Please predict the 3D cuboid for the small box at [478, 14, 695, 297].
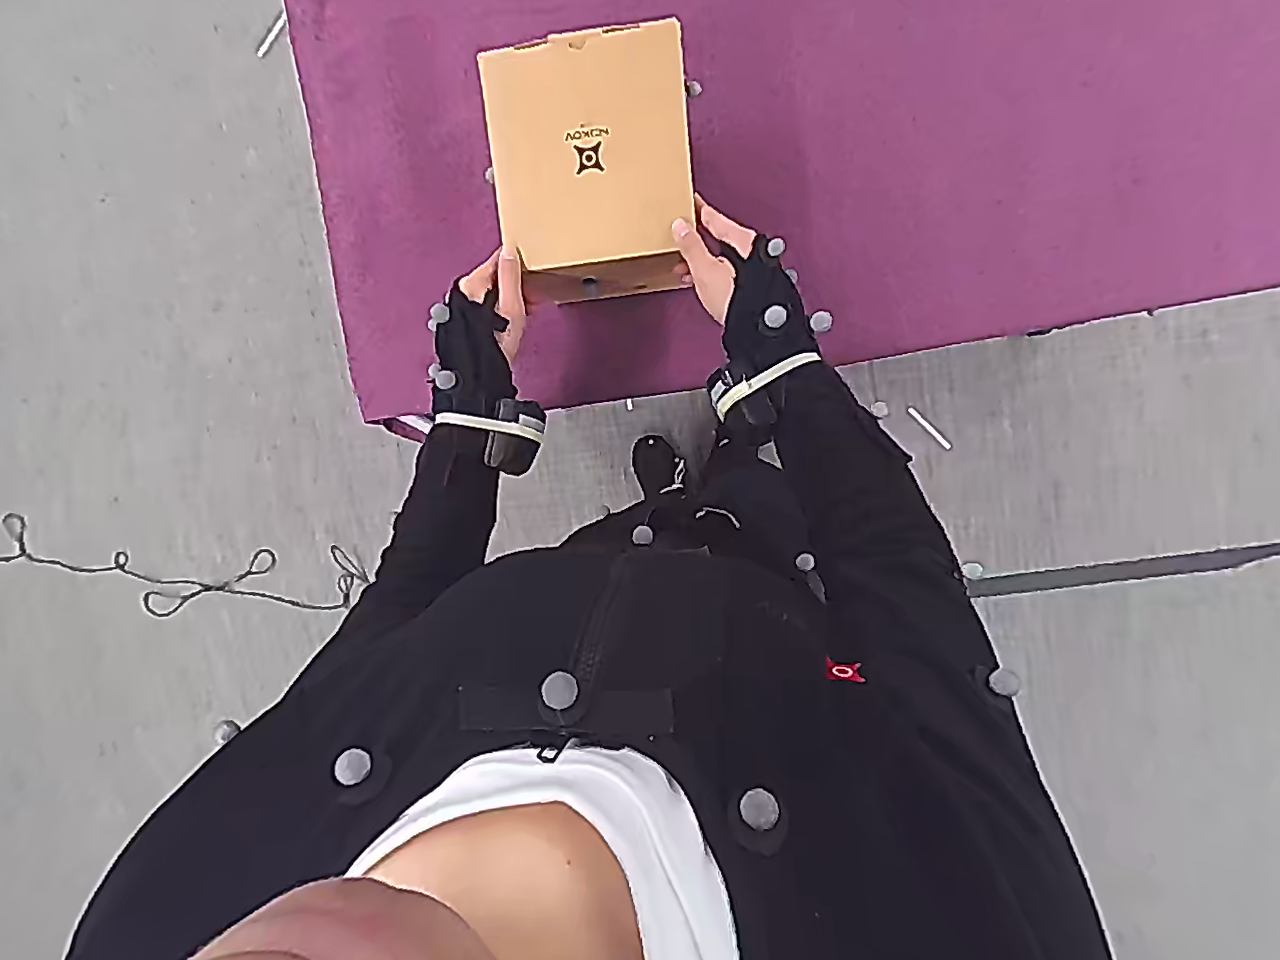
[{"bbox_3d":[-0.035,-0.281,0.518,0.168,0.176,0.179,-5,97,6],"label":"small box"}]
